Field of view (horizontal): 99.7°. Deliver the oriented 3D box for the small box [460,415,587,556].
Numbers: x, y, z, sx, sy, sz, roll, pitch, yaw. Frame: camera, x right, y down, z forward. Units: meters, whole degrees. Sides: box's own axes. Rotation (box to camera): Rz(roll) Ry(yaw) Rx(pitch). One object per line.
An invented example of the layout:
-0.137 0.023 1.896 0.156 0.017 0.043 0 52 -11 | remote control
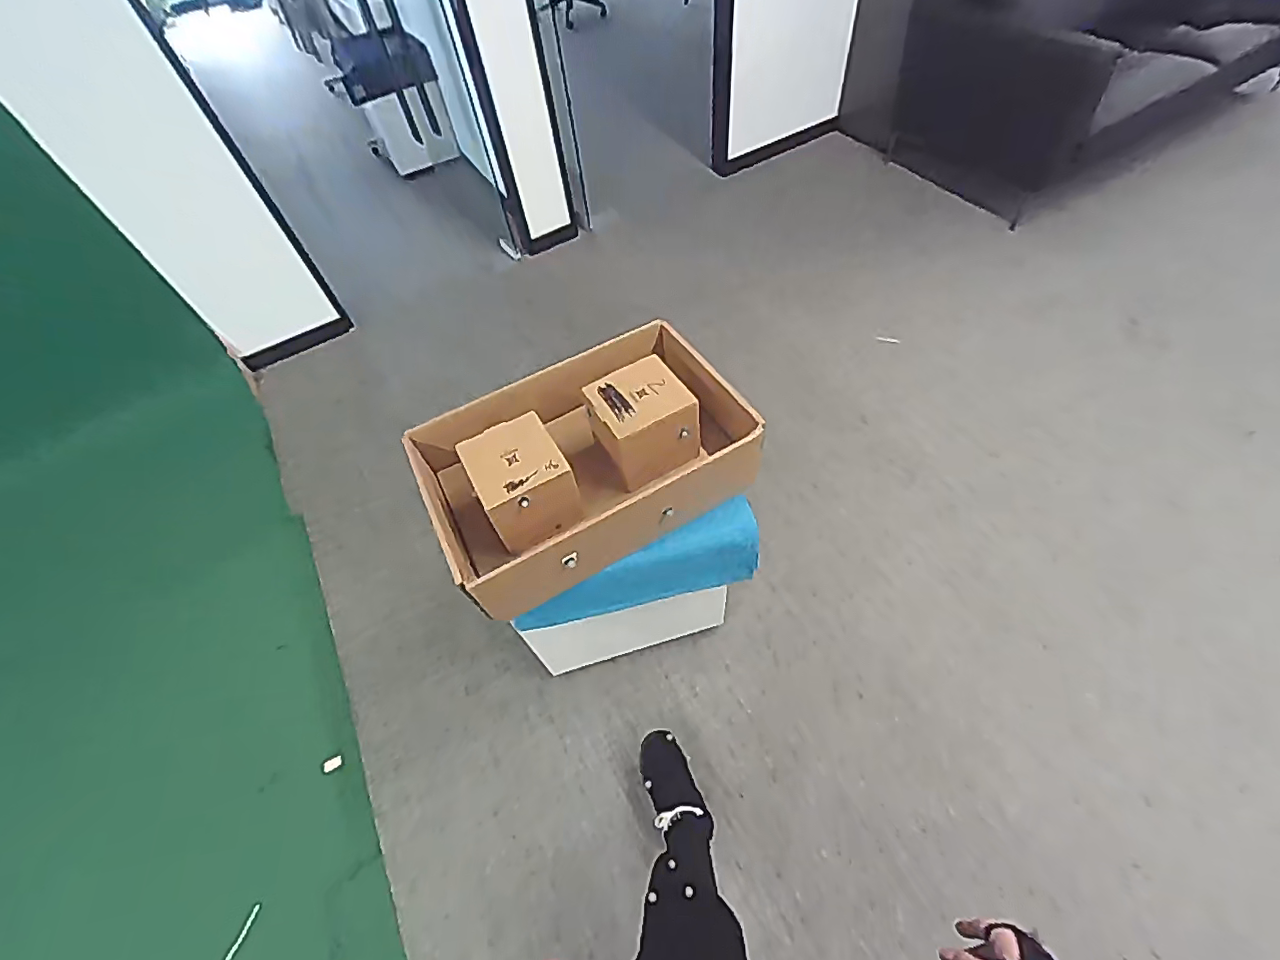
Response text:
-0.220 0.014 1.044 0.168 0.176 0.179 -27 54 -12 | small box
